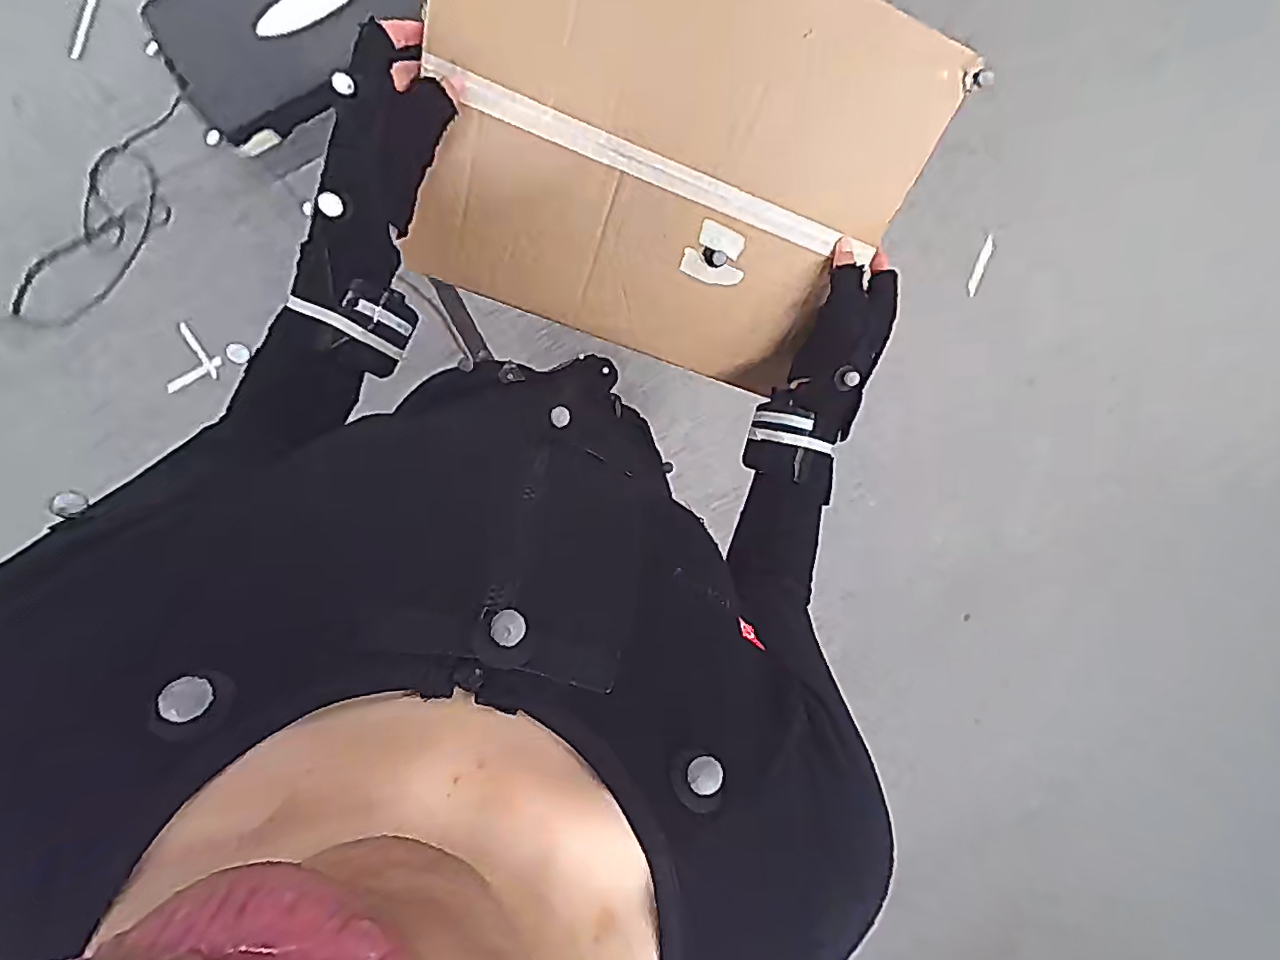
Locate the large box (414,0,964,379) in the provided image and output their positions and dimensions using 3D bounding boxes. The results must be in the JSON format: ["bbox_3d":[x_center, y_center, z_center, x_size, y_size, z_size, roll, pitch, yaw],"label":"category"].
[{"bbox_3d":[0.016,-0.356,0.586,0.408,0.320,0.320,15,123,-12],"label":"large box"}]
